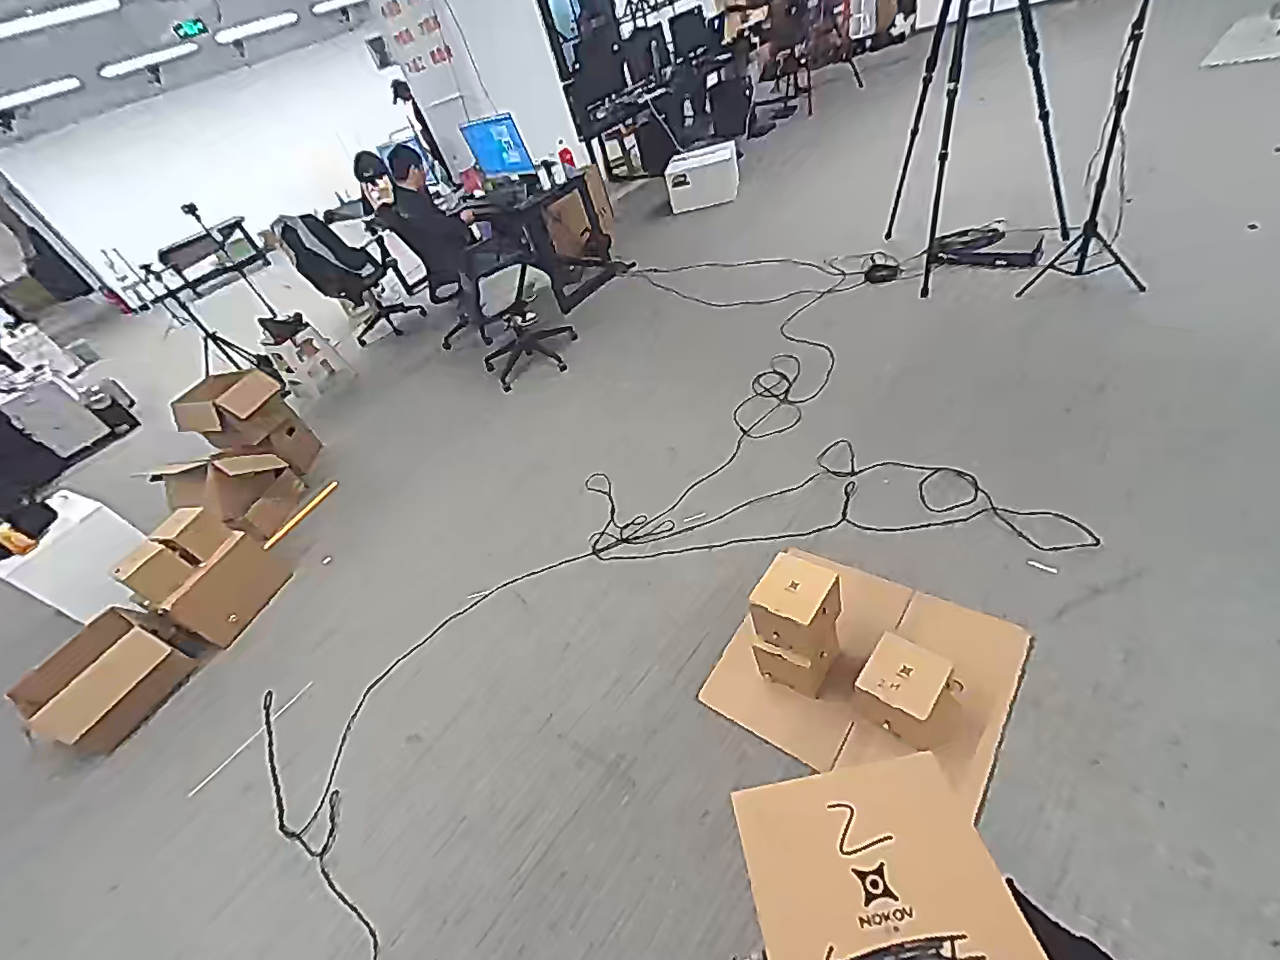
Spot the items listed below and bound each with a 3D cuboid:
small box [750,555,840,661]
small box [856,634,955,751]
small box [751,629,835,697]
[{"bbox_3d":[0.407,0.333,1.408,0.168,0.176,0.179,18,54,38],"label":"small box"},{"bbox_3d":[0.654,0.526,1.341,0.168,0.176,0.179,22,57,41],"label":"small box"},{"bbox_3d":[0.433,0.467,1.501,0.168,0.176,0.179,16,52,36],"label":"small box"}]
